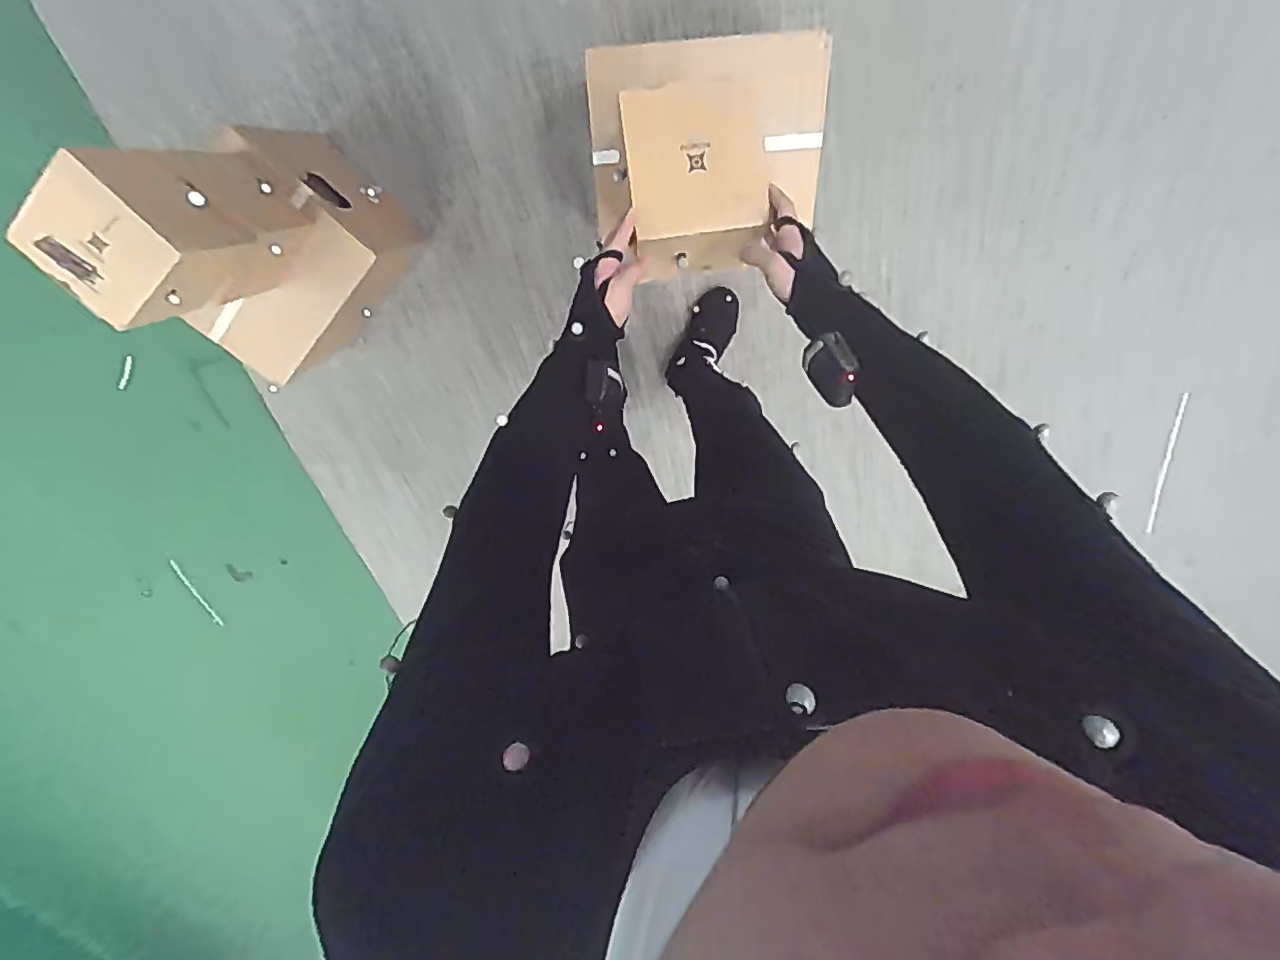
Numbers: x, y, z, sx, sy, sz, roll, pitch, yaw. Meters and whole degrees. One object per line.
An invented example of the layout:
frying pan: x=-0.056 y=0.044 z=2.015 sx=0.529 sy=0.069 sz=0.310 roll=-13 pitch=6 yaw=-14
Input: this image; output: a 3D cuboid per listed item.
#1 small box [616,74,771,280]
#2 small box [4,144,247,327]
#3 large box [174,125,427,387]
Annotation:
small box: x=0.063 y=-0.376 z=0.707 sx=0.168 sy=0.176 sz=0.179 roll=-8 pitch=91 yaw=-1
small box: x=-0.744 y=-0.361 z=0.805 sx=0.179 sy=0.176 sz=0.168 roll=-34 pitch=114 yaw=18
large box: x=-0.755 y=-0.493 z=1.202 sx=0.408 sy=0.320 sz=0.320 roll=-40 pitch=111 yaw=22
